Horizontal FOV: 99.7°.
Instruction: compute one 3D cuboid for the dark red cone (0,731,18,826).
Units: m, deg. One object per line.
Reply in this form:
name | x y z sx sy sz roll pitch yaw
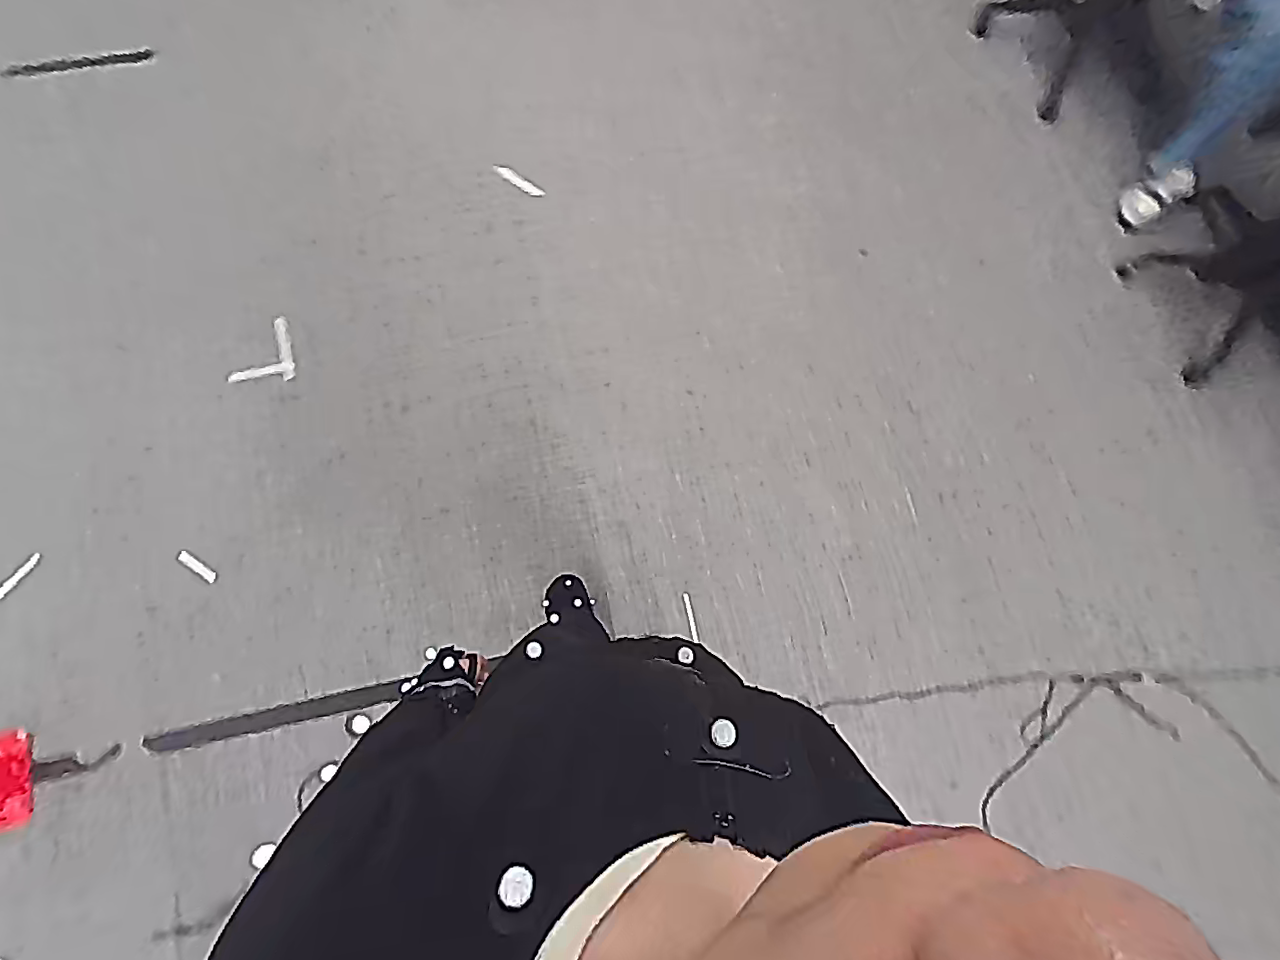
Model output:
dark red cone | -1.430 0.631 0.991 0.202 0.394 0.201 -12 83 -8
